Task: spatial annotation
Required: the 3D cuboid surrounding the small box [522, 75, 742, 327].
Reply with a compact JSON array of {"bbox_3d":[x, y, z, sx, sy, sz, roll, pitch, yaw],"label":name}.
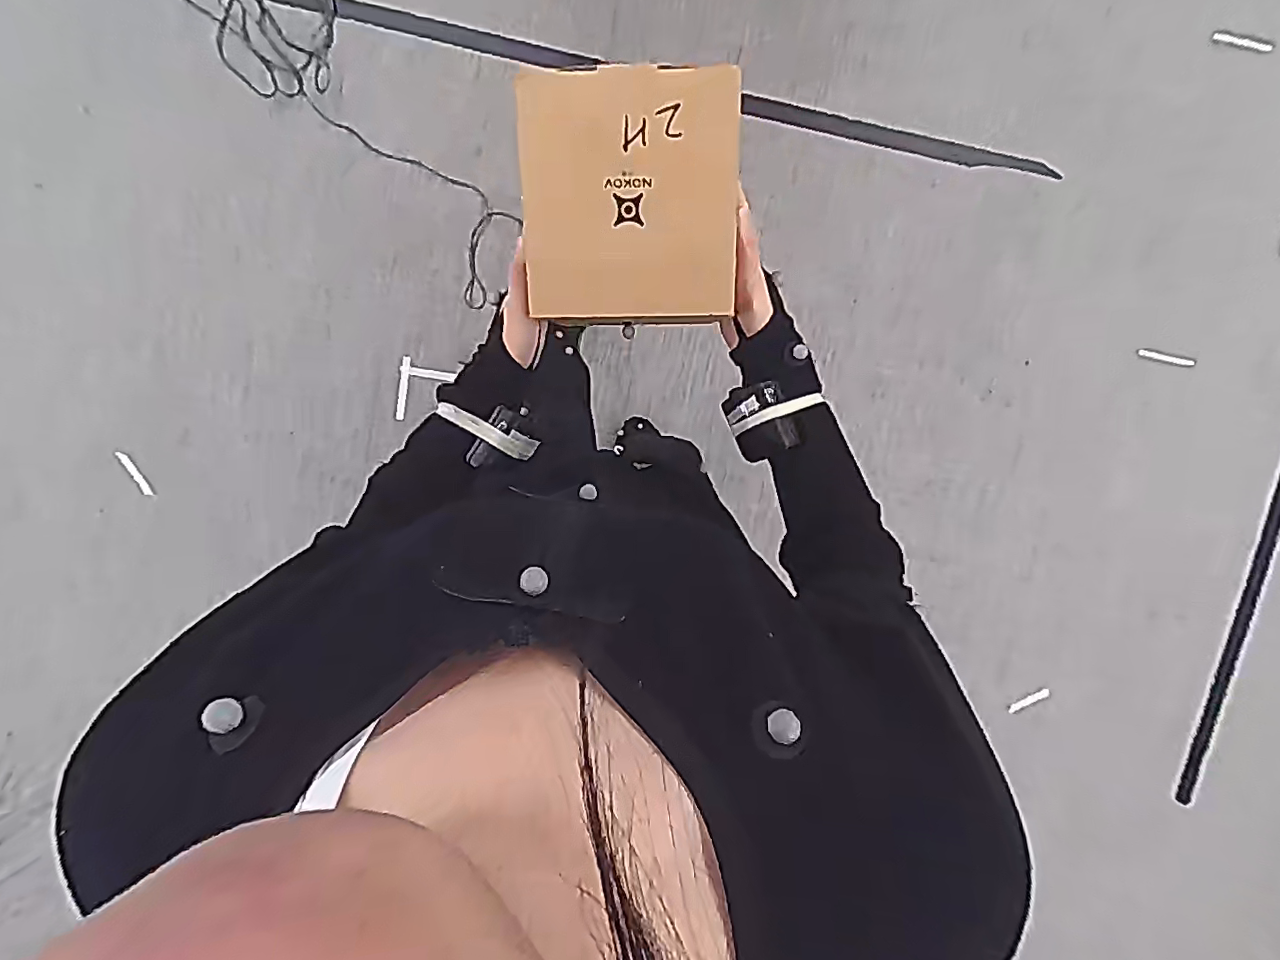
[{"bbox_3d":[-0.005,-0.232,0.496,0.168,0.176,0.179,0,104,0],"label":"small box"}]
